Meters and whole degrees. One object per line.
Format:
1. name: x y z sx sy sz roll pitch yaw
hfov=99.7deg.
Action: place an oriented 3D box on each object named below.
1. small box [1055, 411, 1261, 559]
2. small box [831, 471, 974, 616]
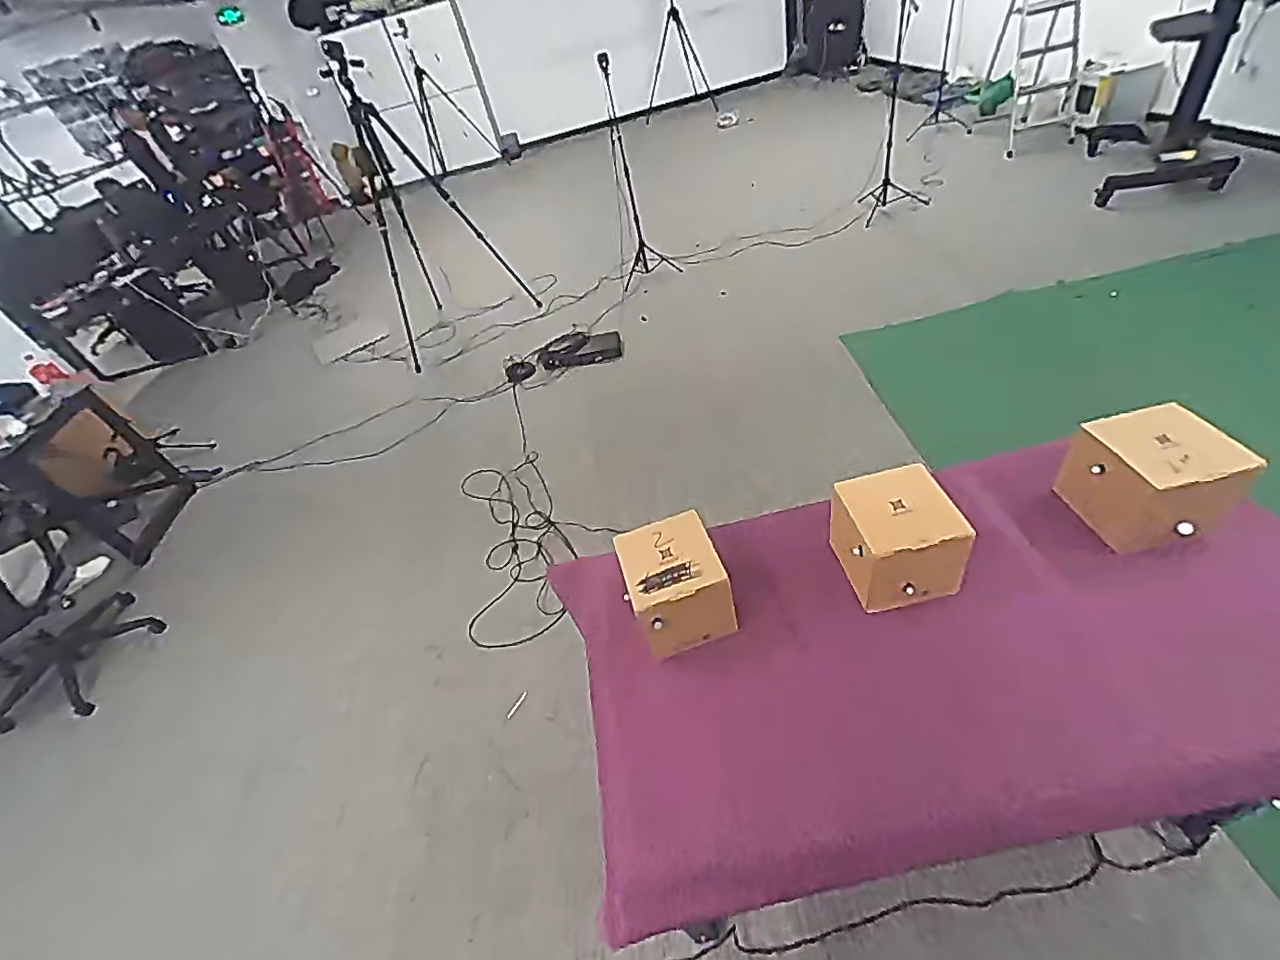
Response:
1. small box: 0.881 0.011 0.948 0.168 0.176 0.179 -14 43 4
2. small box: 0.454 0.115 0.971 0.168 0.176 0.179 -13 43 2
